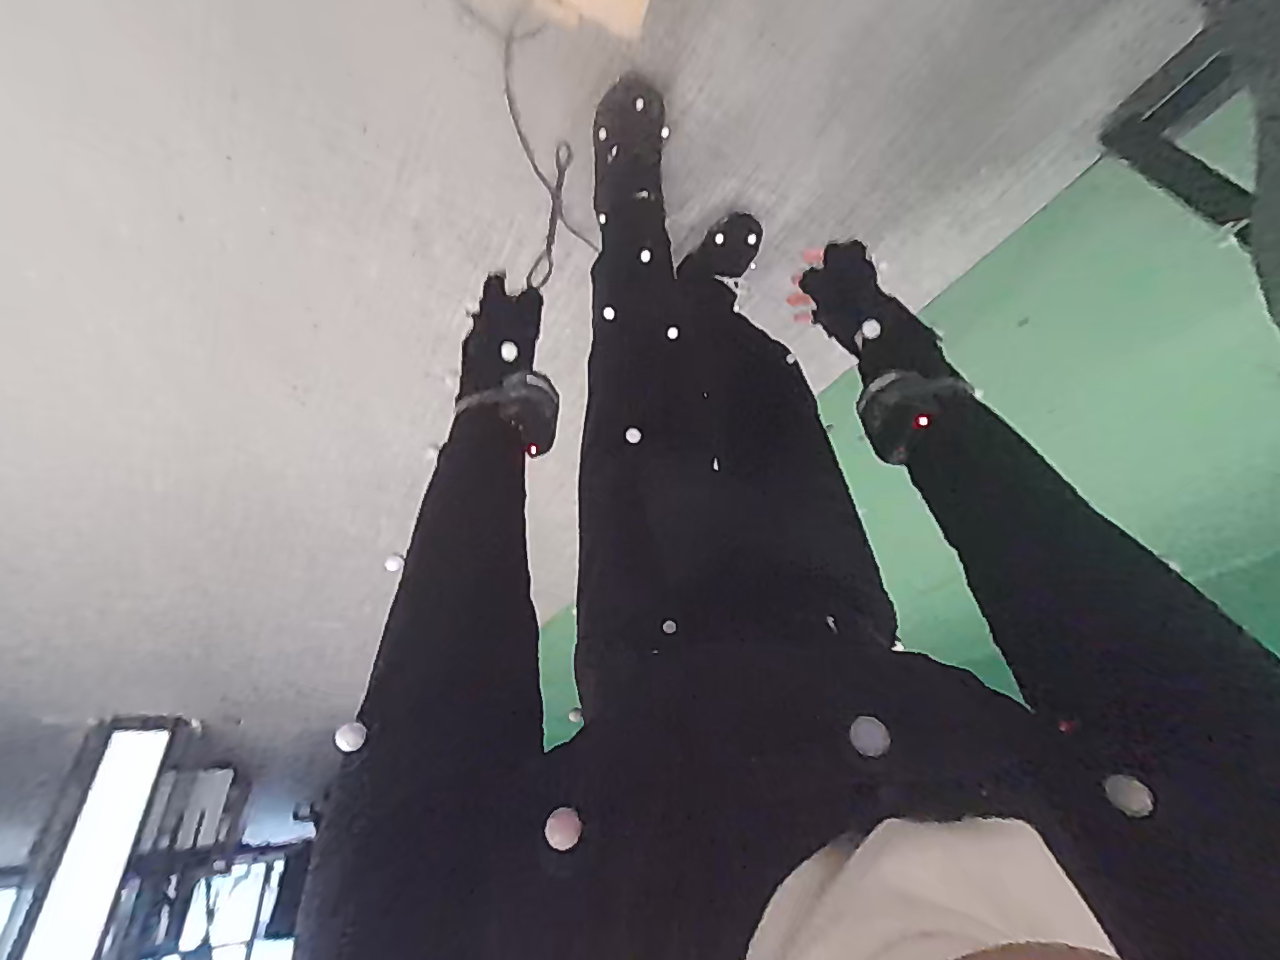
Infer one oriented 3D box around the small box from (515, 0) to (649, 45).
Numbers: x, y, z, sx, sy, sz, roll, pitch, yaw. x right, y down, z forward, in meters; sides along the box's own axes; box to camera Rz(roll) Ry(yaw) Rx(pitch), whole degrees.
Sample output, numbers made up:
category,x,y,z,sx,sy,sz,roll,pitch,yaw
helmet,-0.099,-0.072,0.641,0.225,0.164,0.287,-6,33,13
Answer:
category,x,y,z,sx,sy,sz,roll,pitch,yaw
small box,-0.058,-0.564,0.507,0.168,0.176,0.179,7,141,-17
